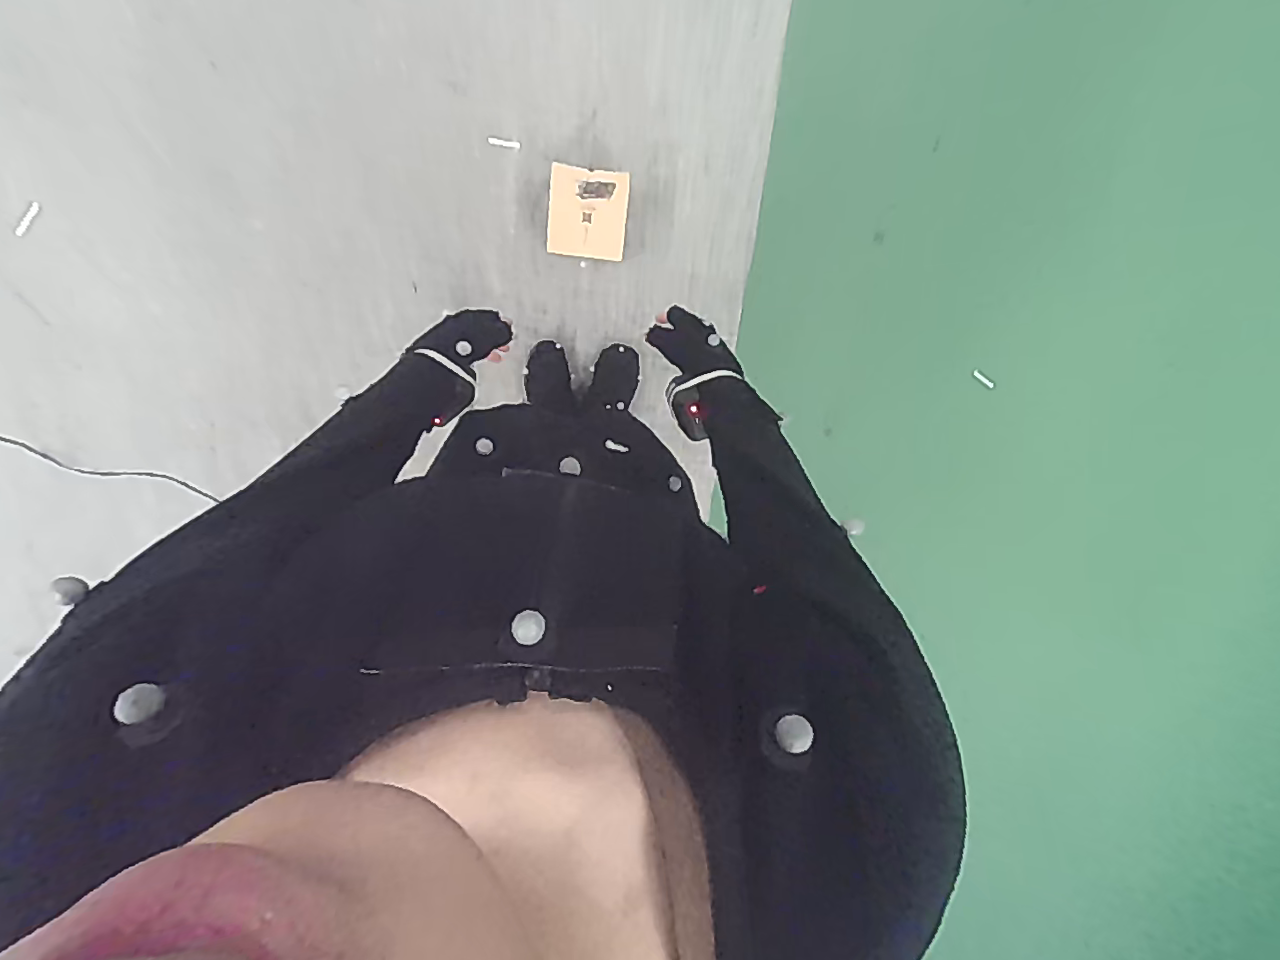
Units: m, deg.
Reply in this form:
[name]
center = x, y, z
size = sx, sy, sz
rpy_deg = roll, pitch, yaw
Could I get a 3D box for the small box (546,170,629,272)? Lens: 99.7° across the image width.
[small box]
center = -0.119, -0.573, 1.218
size = 0.168, 0.176, 0.179
rpy_deg = 5, 109, -6
